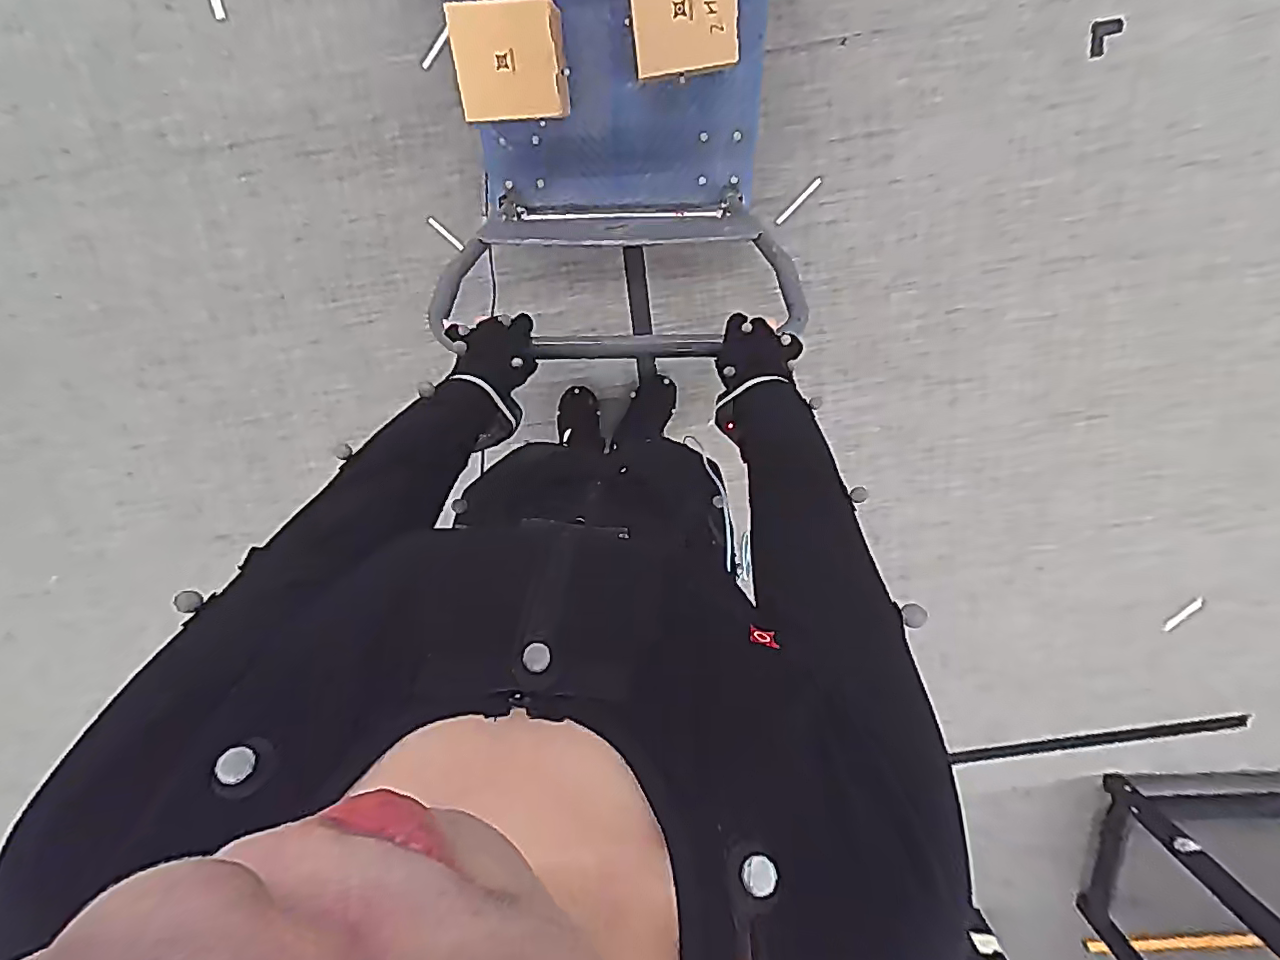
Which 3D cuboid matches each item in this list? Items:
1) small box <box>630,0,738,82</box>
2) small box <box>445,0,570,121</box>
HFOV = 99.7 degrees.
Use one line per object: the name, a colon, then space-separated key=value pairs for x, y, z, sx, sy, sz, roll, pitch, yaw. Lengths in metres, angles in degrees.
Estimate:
small box: x=0.075 y=-0.818 z=0.953 sx=0.179 sy=0.176 sz=0.168 roll=-6 pitch=124 yaw=4
small box: x=-0.230 y=-0.762 z=0.992 sx=0.179 sy=0.176 sz=0.168 roll=-4 pitch=124 yaw=1
